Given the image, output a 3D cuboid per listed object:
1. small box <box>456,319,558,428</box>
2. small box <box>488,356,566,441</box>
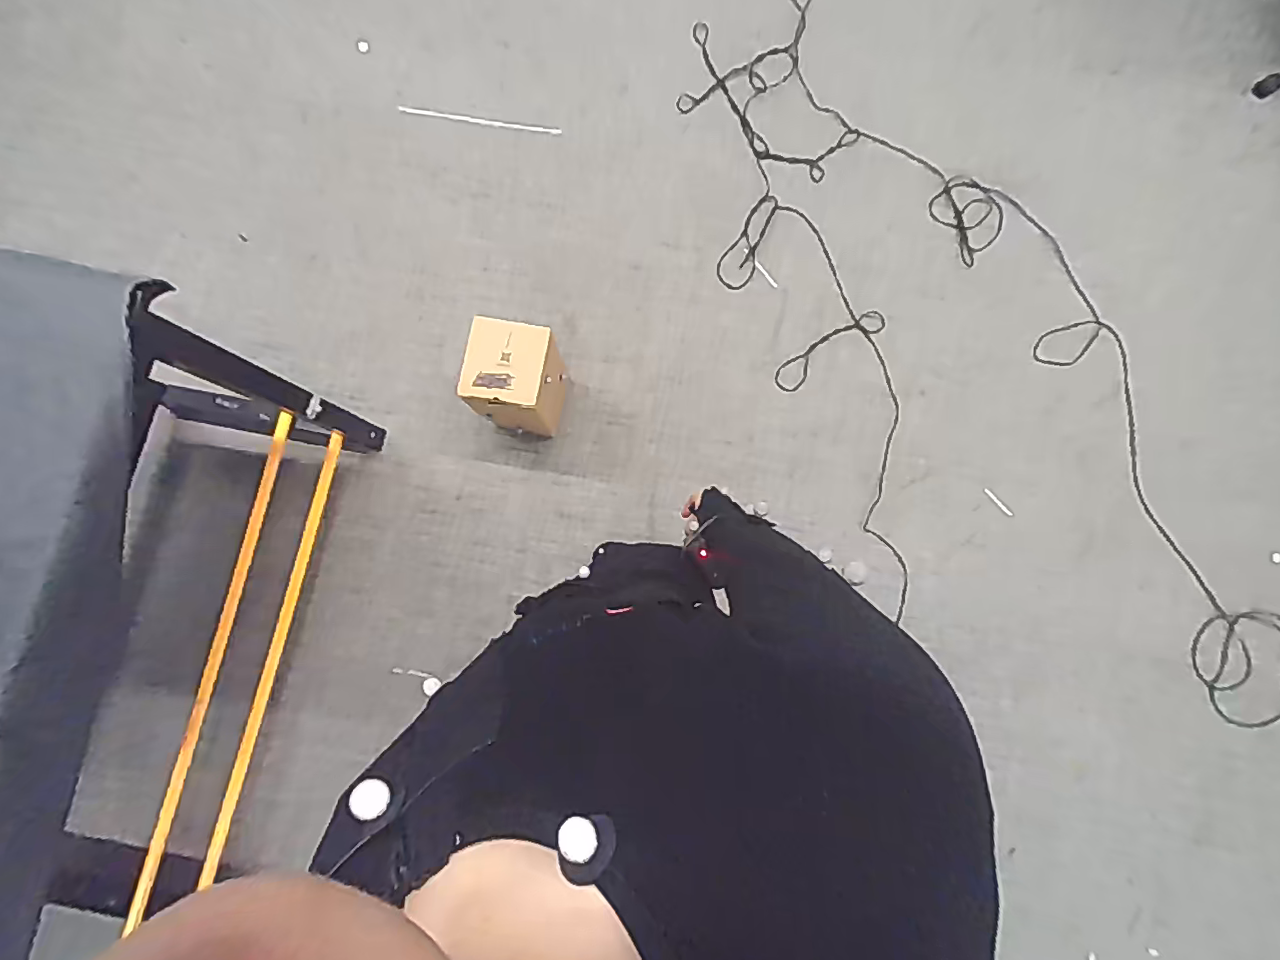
[{"bbox_3d":[-0.282,-0.224,1.183,0.168,0.176,0.179,9,81,0],"label":"small box"},{"bbox_3d":[-0.287,-0.212,1.347,0.168,0.176,0.179,11,80,1],"label":"small box"}]
